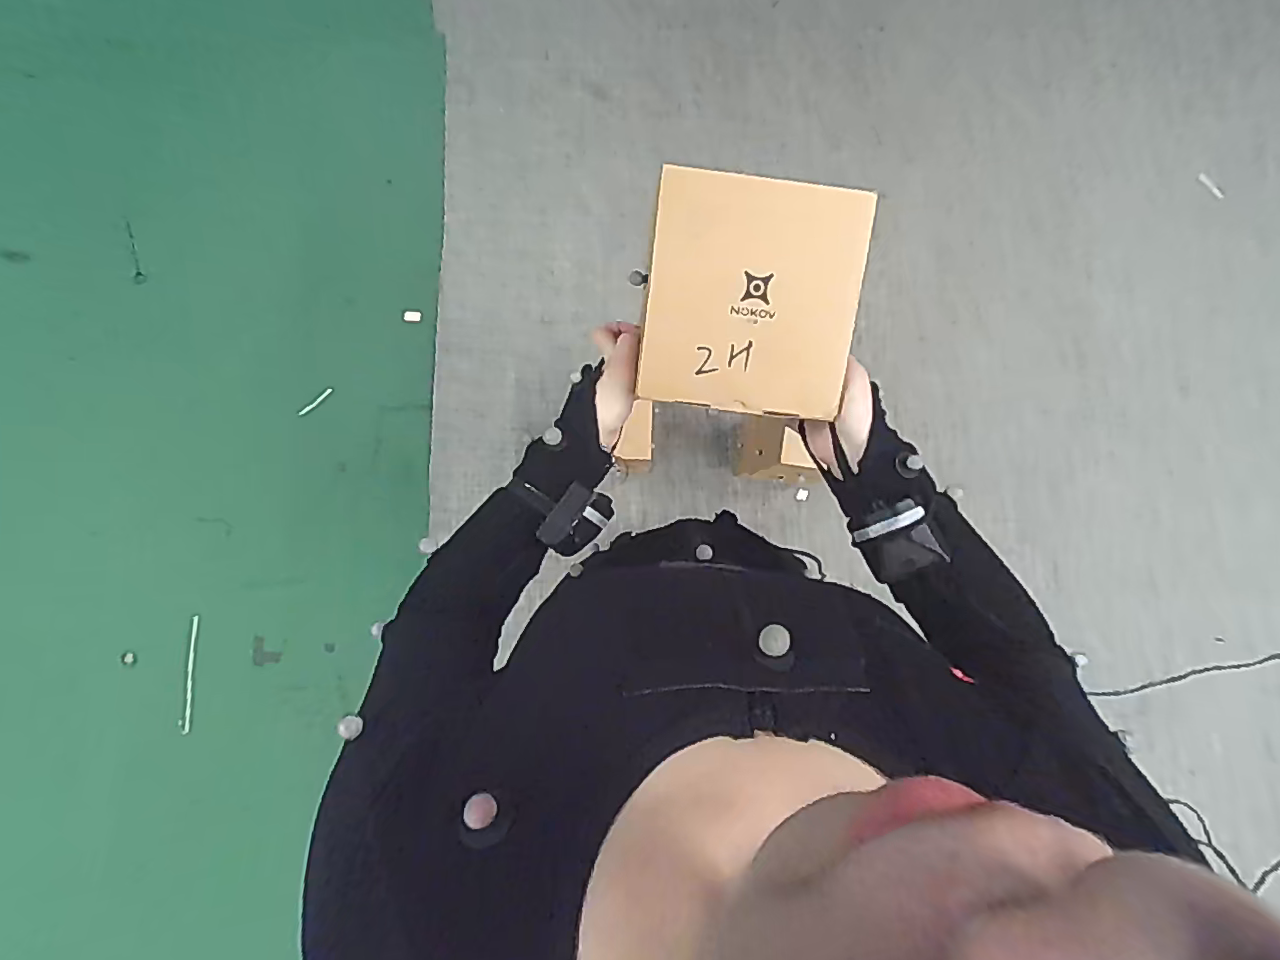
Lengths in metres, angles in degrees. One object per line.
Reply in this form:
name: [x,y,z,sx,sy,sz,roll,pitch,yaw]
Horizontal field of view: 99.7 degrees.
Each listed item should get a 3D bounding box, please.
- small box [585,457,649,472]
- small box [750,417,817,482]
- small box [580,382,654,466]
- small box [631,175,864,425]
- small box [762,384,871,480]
small box: [-0.051,-0.118,1.474,0.168,0.176,0.179,4,86,1]
small box: [0.367,-0.096,1.303,0.168,0.176,0.179,8,86,2]
small box: [-0.051,-0.131,1.312,0.168,0.176,0.179,1,86,2]
small box: [0.082,-0.155,0.510,0.168,0.176,0.179,7,102,-3]
small box: [0.363,-0.101,1.139,0.168,0.176,0.179,9,87,1]
